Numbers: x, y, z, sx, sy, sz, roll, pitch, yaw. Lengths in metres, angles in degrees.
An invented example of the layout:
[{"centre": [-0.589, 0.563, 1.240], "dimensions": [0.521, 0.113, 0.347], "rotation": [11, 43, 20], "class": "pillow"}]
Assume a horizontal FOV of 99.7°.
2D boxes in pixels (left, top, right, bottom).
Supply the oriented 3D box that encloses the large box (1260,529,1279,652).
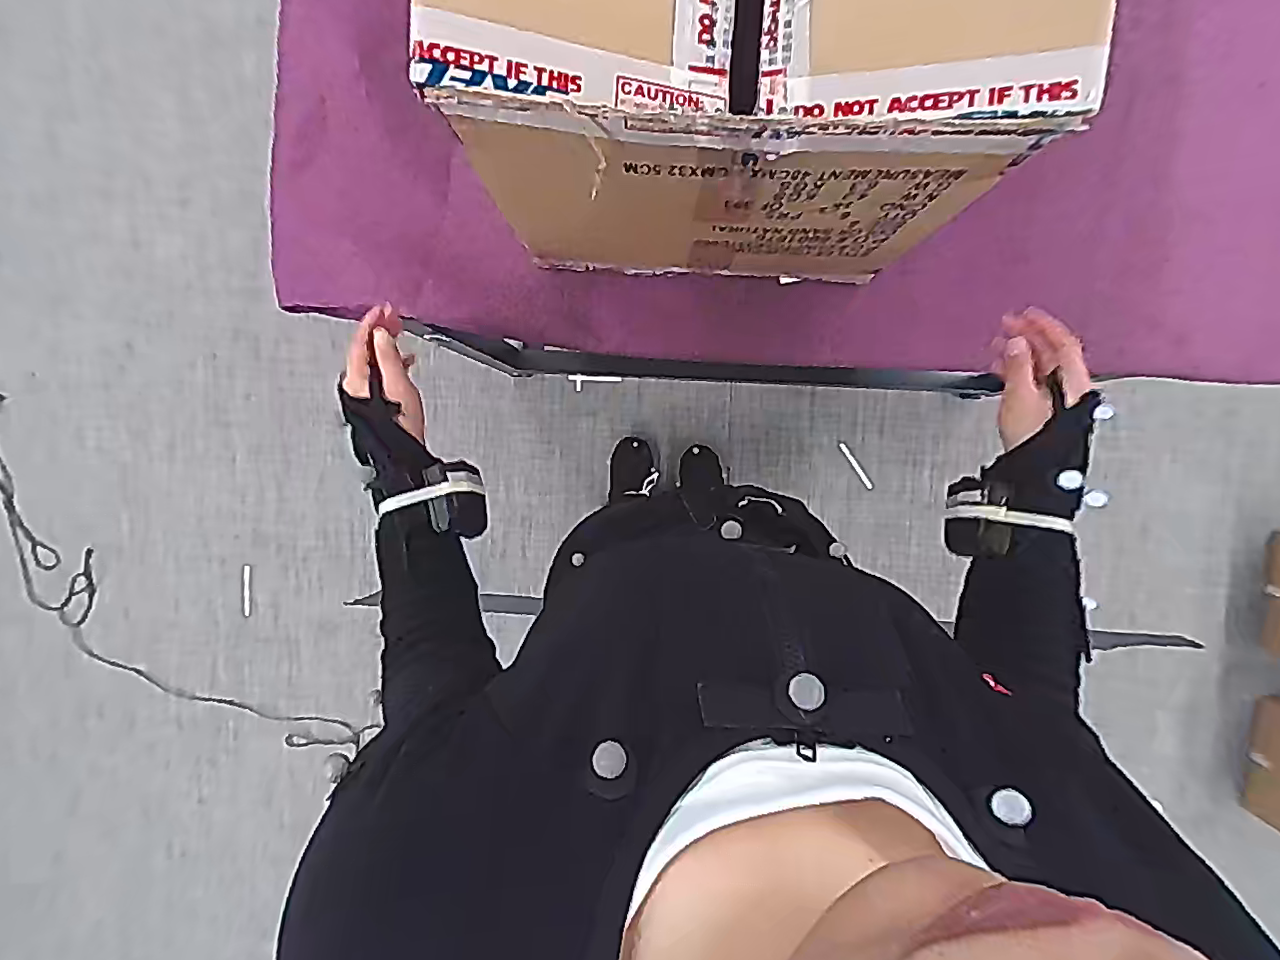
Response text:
[{"centre": [1.766, 0.286, 1.202], "dimensions": [0.408, 0.320, 0.320], "rotation": [1, 94, 3], "class": "large box"}]
